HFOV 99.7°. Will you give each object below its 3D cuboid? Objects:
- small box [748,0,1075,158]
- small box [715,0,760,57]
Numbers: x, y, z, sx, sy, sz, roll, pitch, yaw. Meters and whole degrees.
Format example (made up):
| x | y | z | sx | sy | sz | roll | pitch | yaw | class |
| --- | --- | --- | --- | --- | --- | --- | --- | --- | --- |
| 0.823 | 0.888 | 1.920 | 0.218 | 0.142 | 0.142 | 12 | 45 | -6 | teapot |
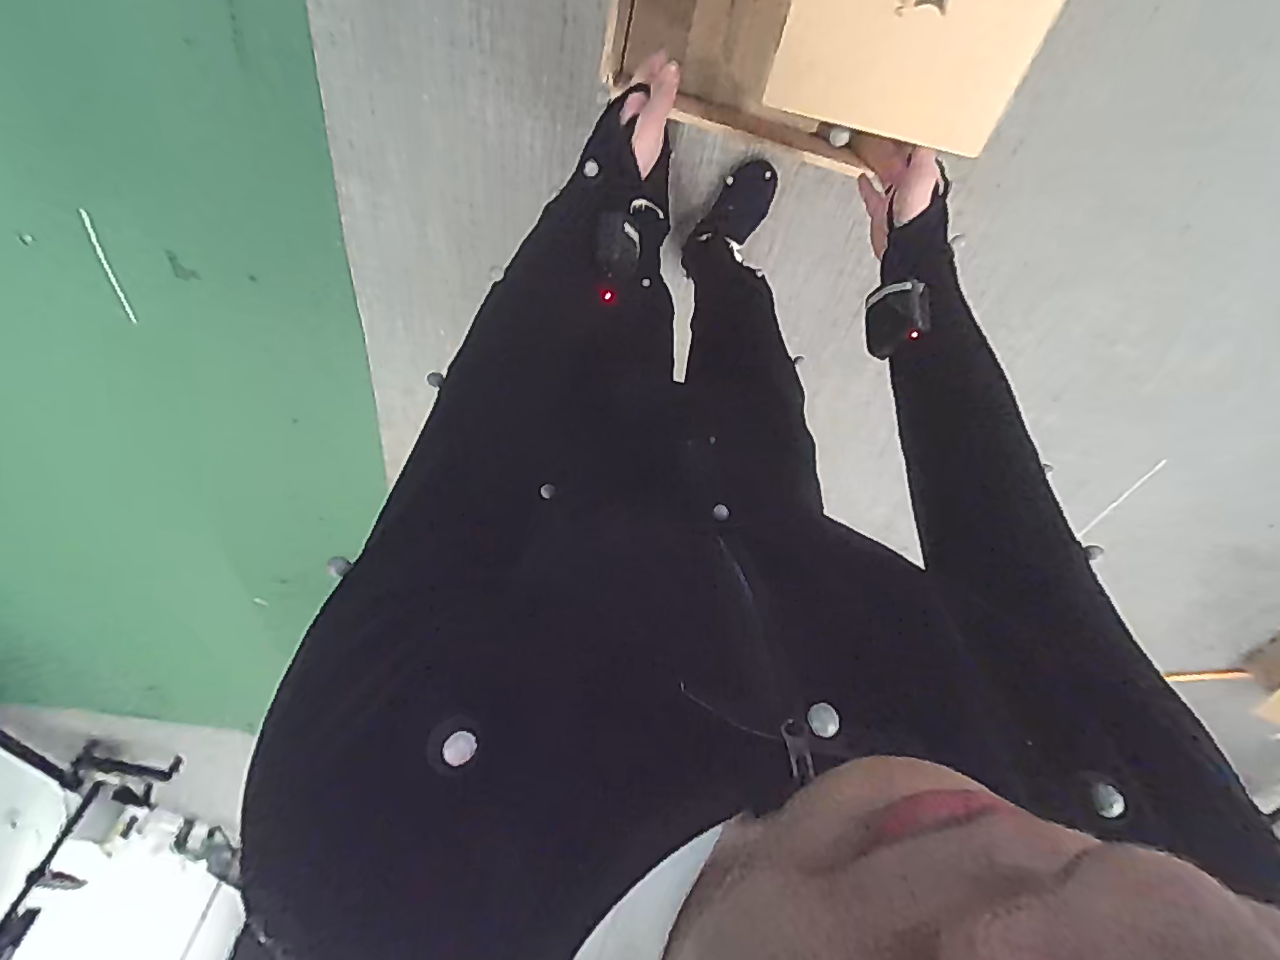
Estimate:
| x | y | z | sx | sy | sz | roll | pitch | yaw | class |
| --- | --- | --- | --- | --- | --- | --- | --- | --- | --- |
| 0.195 | -0.369 | 0.402 | 0.179 | 0.176 | 0.168 | 9 | 133 | -7 | small box |
| 0.199 | -0.593 | 0.640 | 0.179 | 0.176 | 0.168 | 11 | 132 | -8 | small box |
